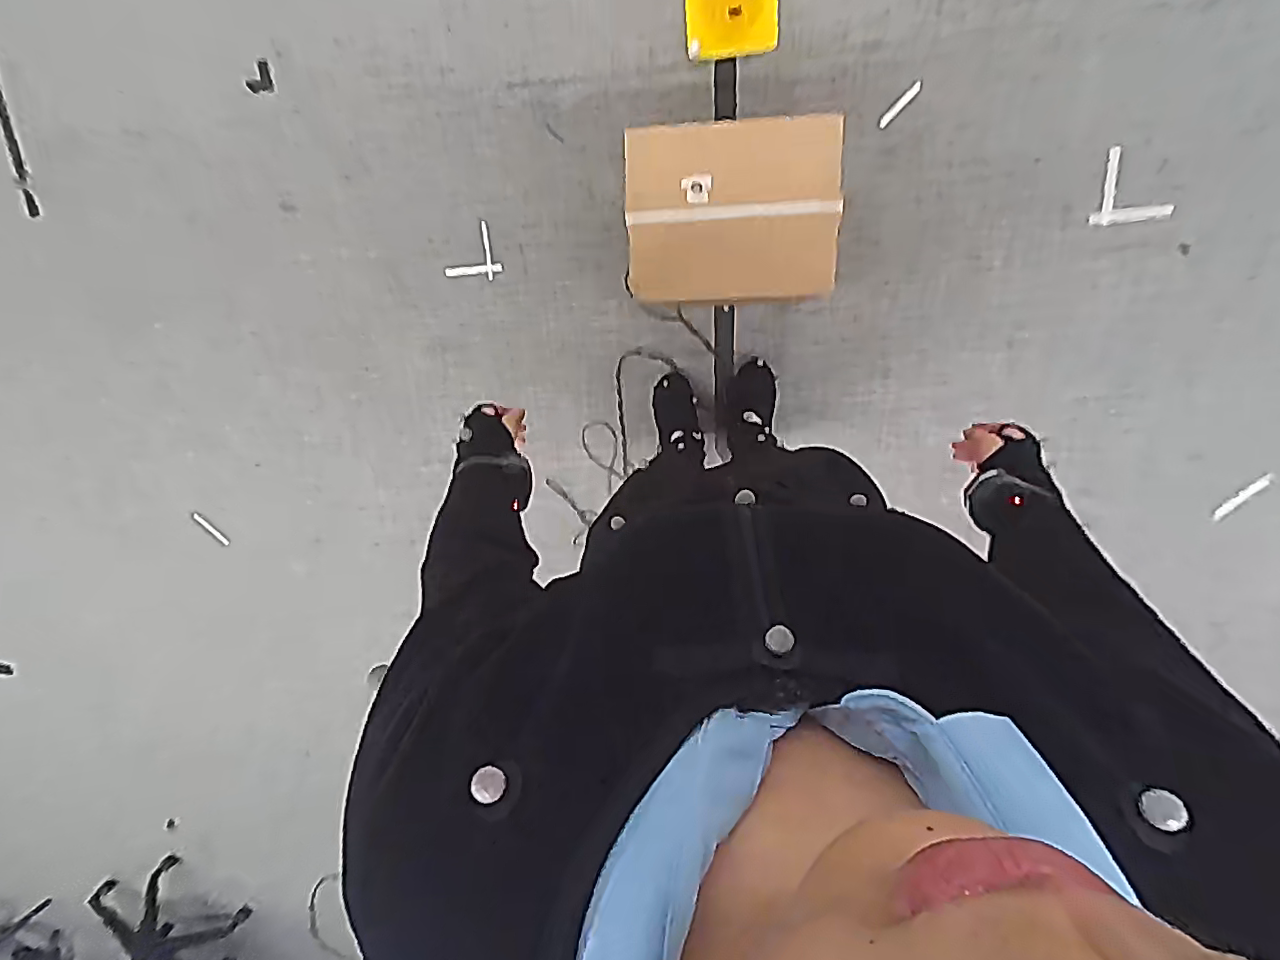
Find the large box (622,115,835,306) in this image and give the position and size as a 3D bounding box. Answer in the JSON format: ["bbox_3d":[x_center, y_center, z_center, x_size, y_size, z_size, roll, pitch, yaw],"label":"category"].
[{"bbox_3d":[0.186,-0.558,1.191,0.408,0.320,0.320,-1,105,6],"label":"large box"}]
